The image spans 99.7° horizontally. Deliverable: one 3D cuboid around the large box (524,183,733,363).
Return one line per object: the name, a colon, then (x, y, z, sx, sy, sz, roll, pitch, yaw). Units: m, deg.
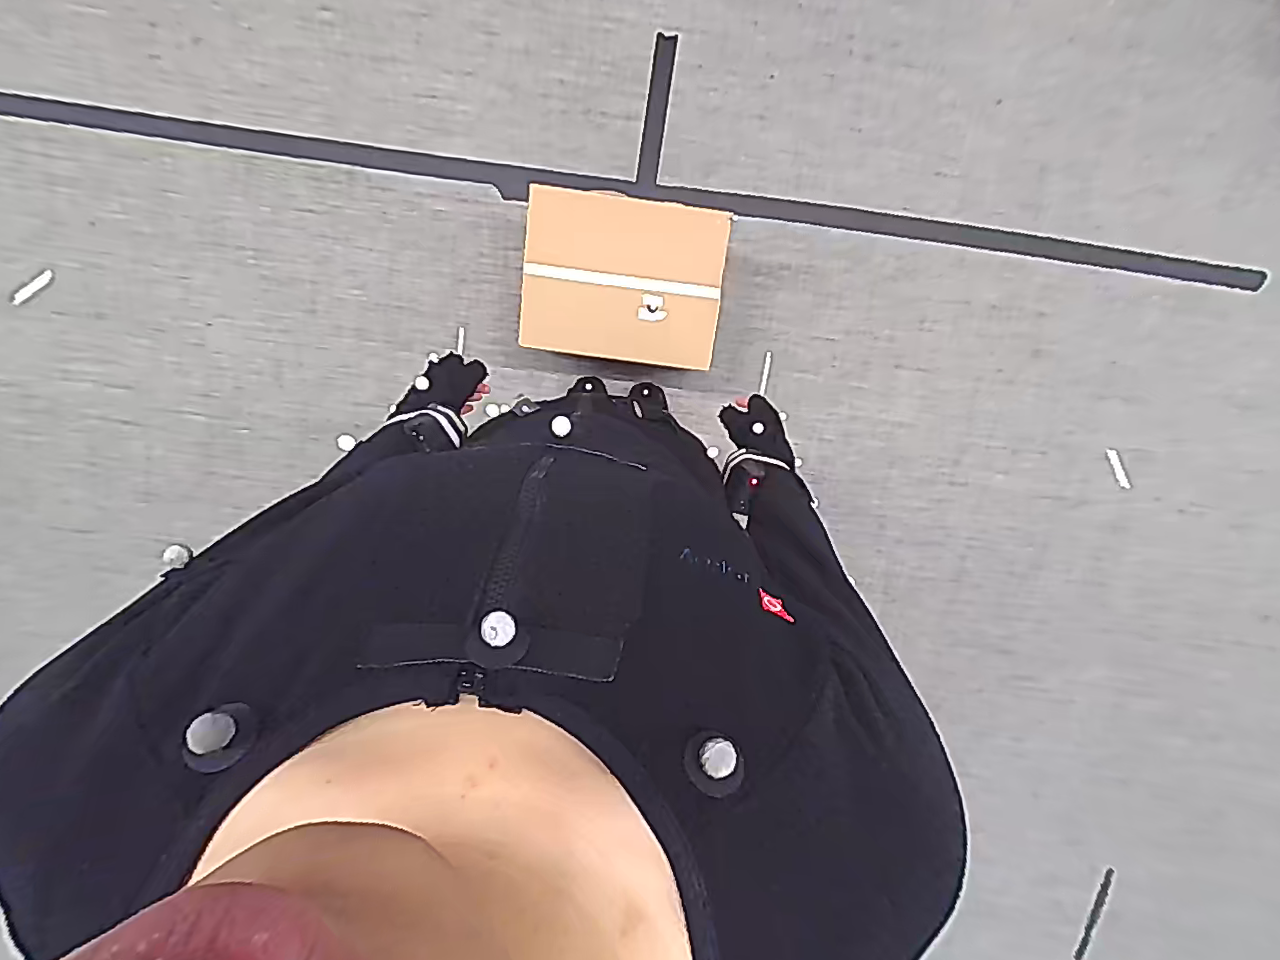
large box: (-0.034, -0.445, 1.240, 0.408, 0.320, 0.320, 6, 103, -3)
